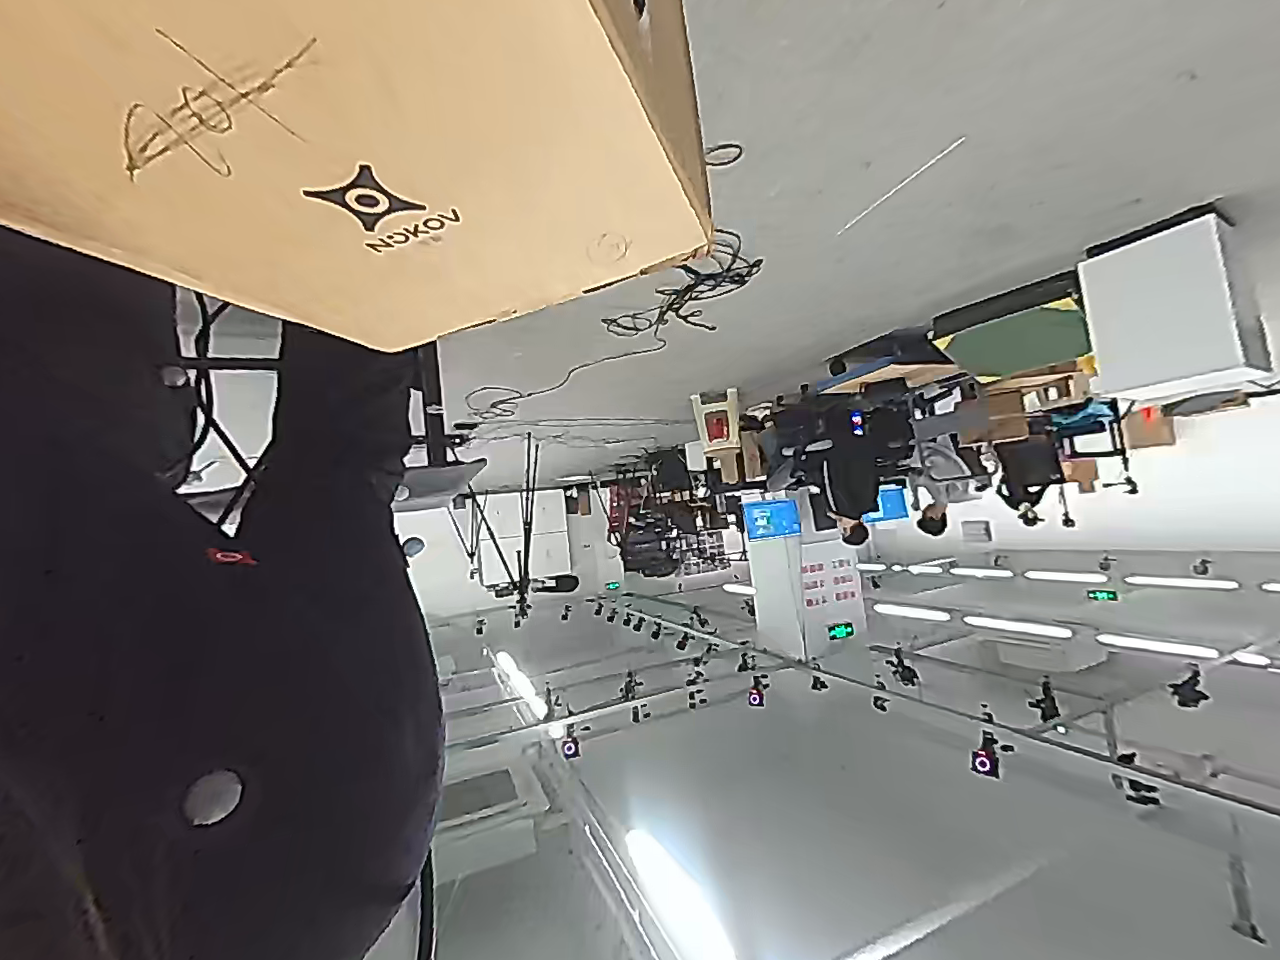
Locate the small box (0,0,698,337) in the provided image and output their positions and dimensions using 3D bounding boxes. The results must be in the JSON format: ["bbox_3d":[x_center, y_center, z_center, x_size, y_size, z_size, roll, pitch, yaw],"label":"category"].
[{"bbox_3d":[-0.090,-0.167,0.168,0.168,0.176,0.179,-10,173,20],"label":"small box"}]
